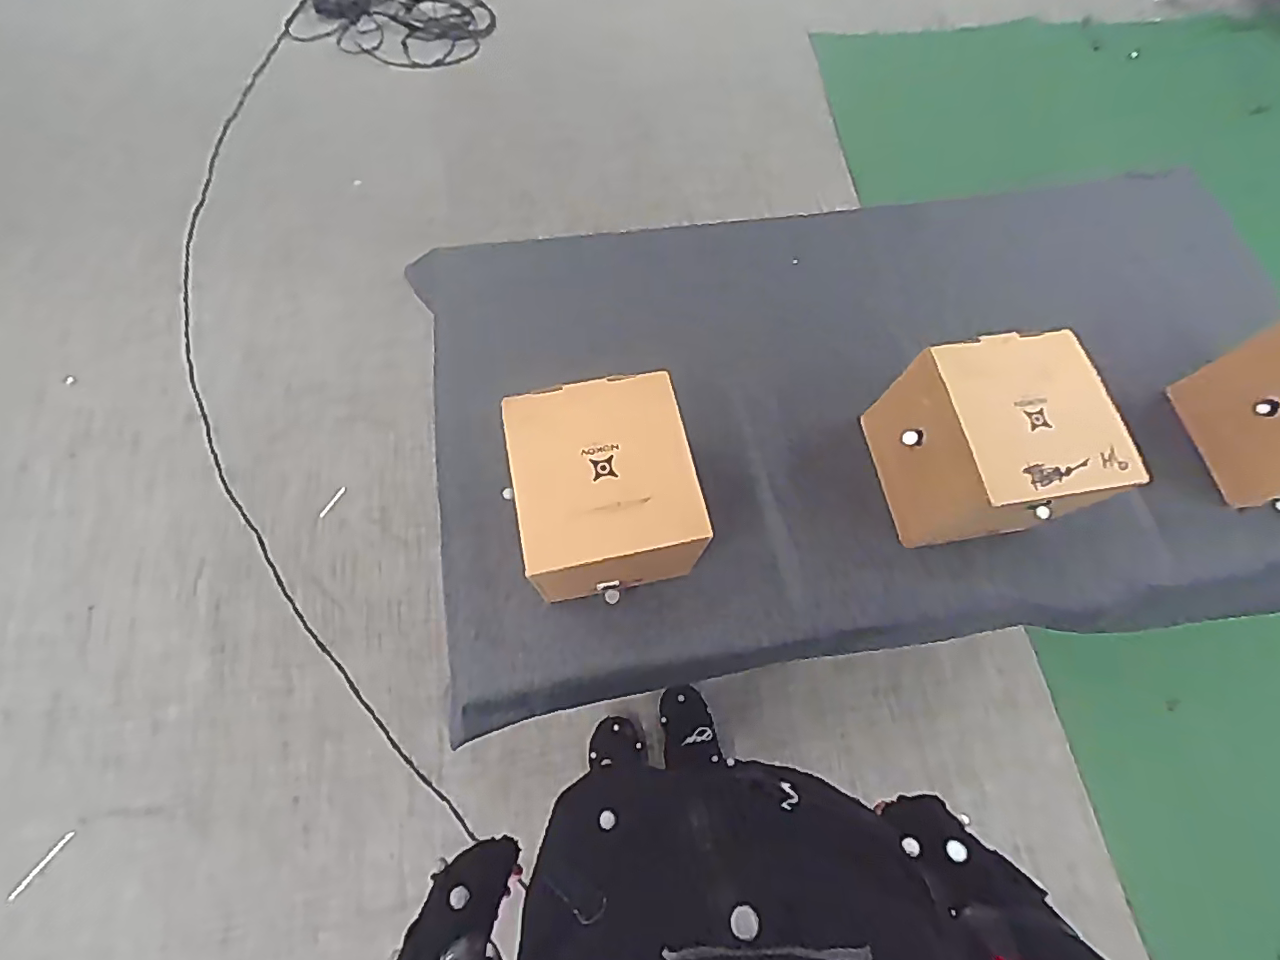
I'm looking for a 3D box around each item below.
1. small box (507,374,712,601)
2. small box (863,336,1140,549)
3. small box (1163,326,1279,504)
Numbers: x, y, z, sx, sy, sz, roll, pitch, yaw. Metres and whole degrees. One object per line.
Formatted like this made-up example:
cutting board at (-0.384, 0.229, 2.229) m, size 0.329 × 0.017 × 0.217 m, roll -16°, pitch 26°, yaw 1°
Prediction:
small box at (-0.036, 0.016, 0.572) m, size 0.168 × 0.176 × 0.179 m, roll -12°, pitch 70°, yaw -6°
small box at (0.381, -0.035, 0.612) m, size 0.168 × 0.176 × 0.179 m, roll -8°, pitch 69°, yaw -5°
small box at (0.806, -0.078, 0.644) m, size 0.168 × 0.176 × 0.179 m, roll -7°, pitch 68°, yaw -4°
